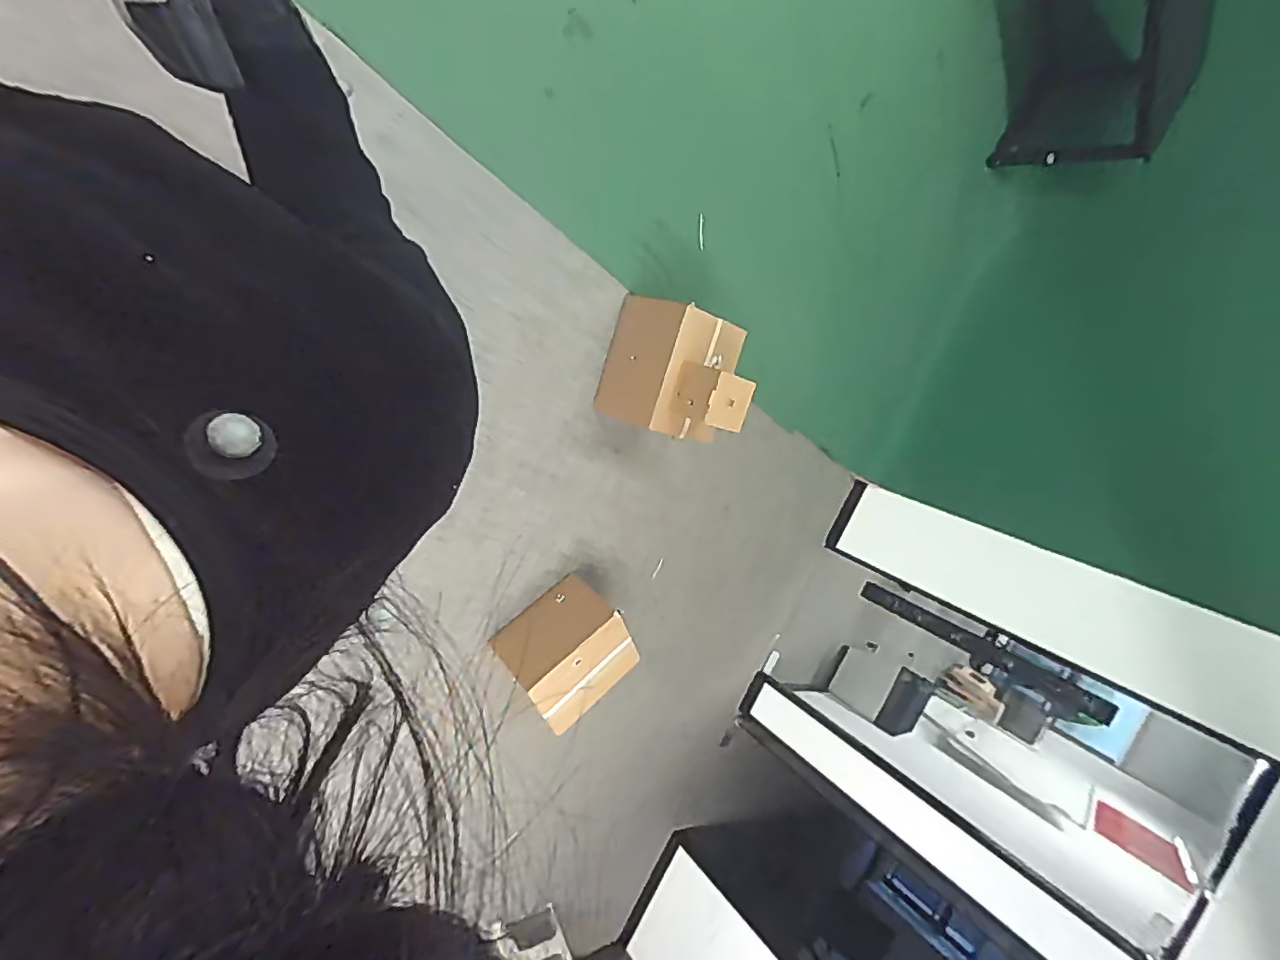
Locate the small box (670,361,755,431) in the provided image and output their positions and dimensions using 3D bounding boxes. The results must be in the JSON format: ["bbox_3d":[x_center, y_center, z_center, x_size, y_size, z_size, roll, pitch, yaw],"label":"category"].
[{"bbox_3d":[0.222,-0.266,1.690,0.179,0.176,0.168,8,105,-44],"label":"small box"}]

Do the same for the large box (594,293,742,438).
[{"bbox_3d":[0.089,-0.389,1.862,0.320,0.320,0.408,6,105,-45],"label":"large box"}]
